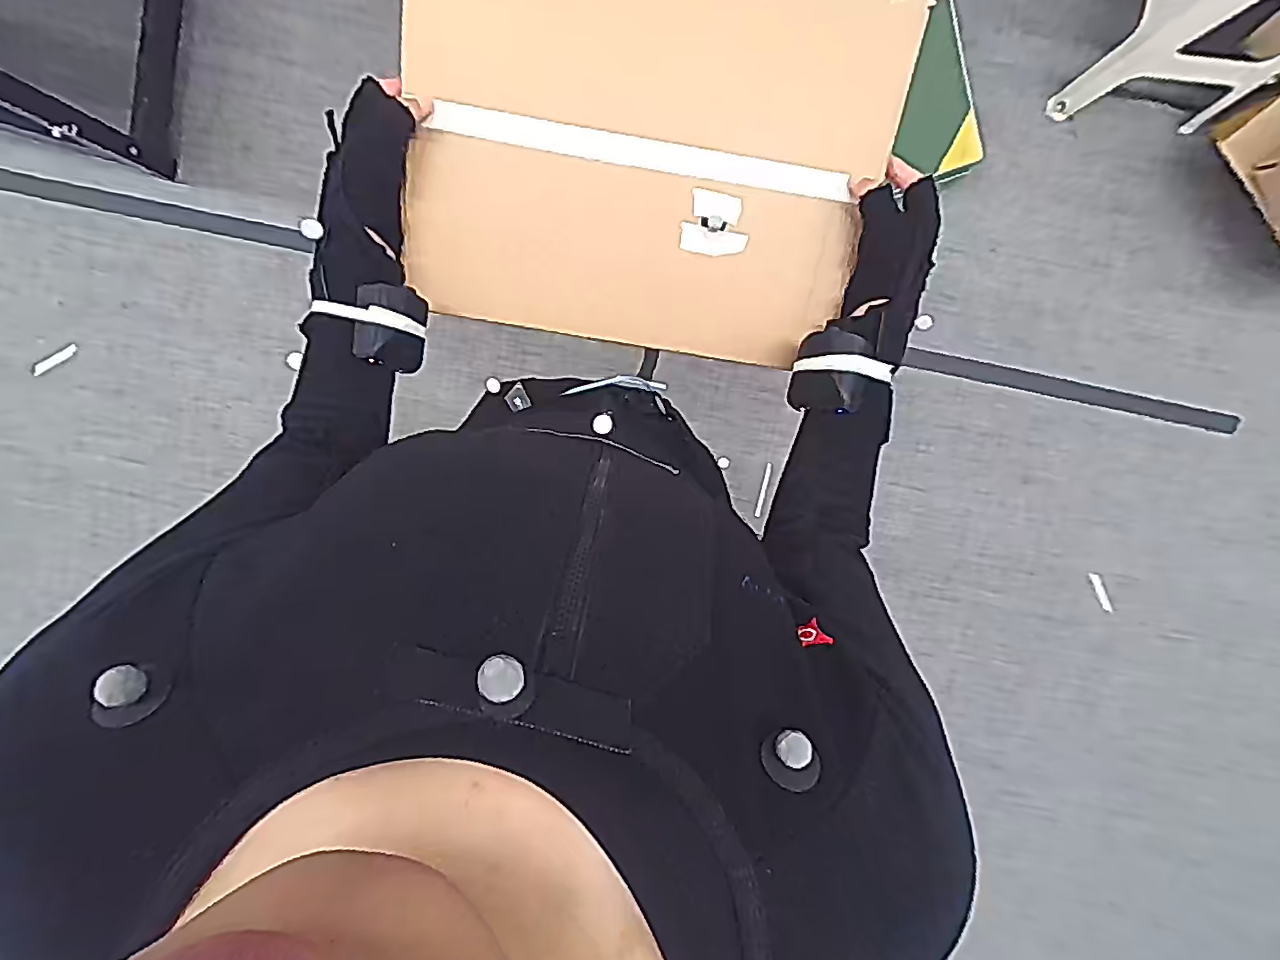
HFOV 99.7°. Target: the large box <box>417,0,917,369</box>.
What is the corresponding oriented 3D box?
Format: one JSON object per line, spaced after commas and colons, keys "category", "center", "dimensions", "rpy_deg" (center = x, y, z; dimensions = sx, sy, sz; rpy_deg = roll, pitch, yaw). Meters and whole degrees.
{"category": "large box", "center": [0.003, -0.323, 0.609], "dimensions": [0.408, 0.320, 0.320], "rpy_deg": [8, 109, -4]}
